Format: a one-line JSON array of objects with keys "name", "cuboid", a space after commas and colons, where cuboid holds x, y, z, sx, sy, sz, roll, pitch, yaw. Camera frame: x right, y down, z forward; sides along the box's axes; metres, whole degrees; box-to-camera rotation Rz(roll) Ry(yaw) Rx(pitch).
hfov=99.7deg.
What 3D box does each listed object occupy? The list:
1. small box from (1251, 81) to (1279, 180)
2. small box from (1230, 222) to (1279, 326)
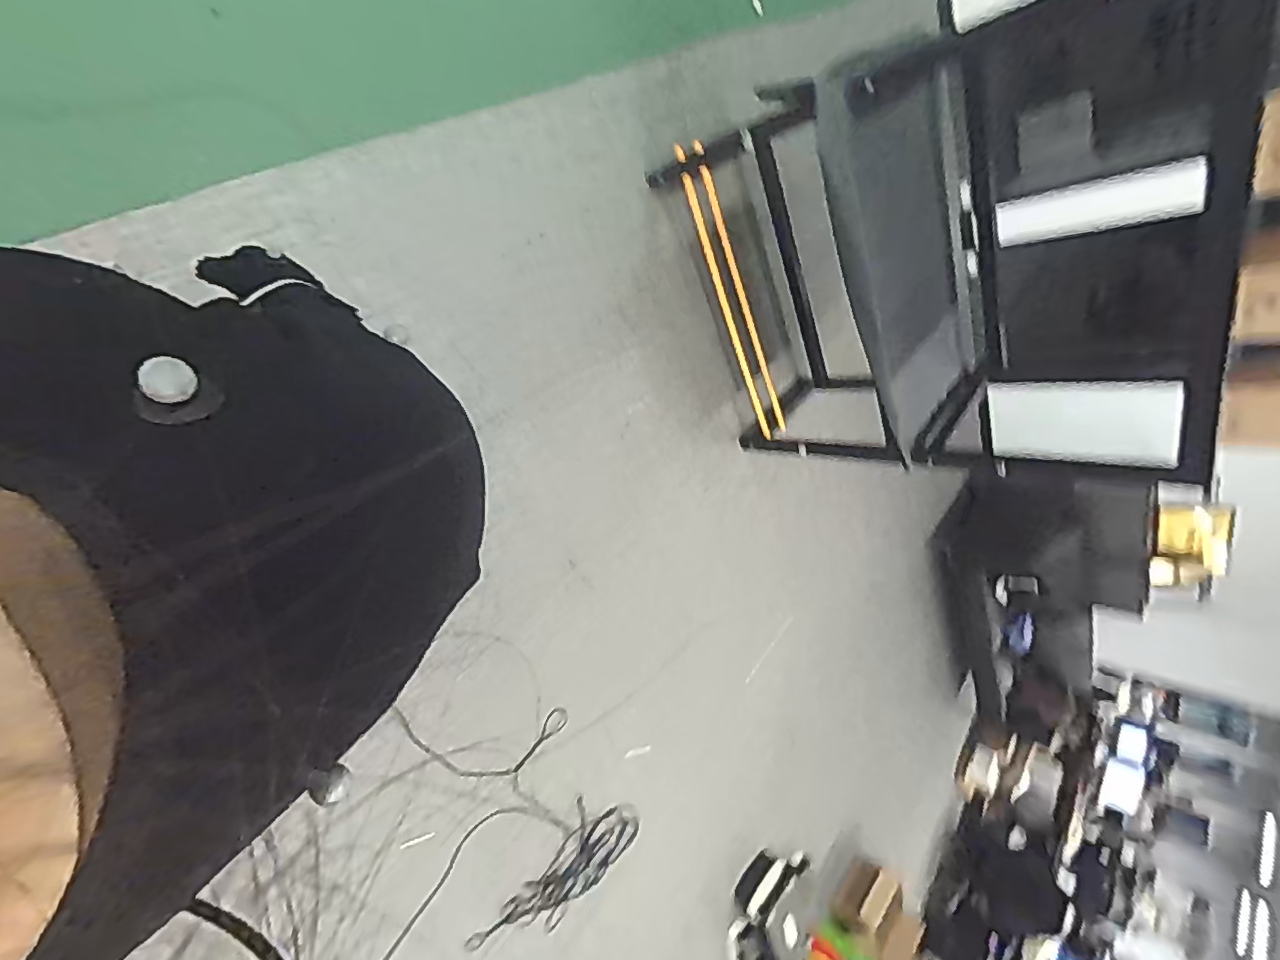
[{"name": "small box", "cuboid": [1.310, -0.697, 1.038, 0.179, 0.176, 0.168, -35, 118, -34]}, {"name": "small box", "cuboid": [1.413, -0.453, 1.165, 0.179, 0.176, 0.168, -47, 124, -27]}]
